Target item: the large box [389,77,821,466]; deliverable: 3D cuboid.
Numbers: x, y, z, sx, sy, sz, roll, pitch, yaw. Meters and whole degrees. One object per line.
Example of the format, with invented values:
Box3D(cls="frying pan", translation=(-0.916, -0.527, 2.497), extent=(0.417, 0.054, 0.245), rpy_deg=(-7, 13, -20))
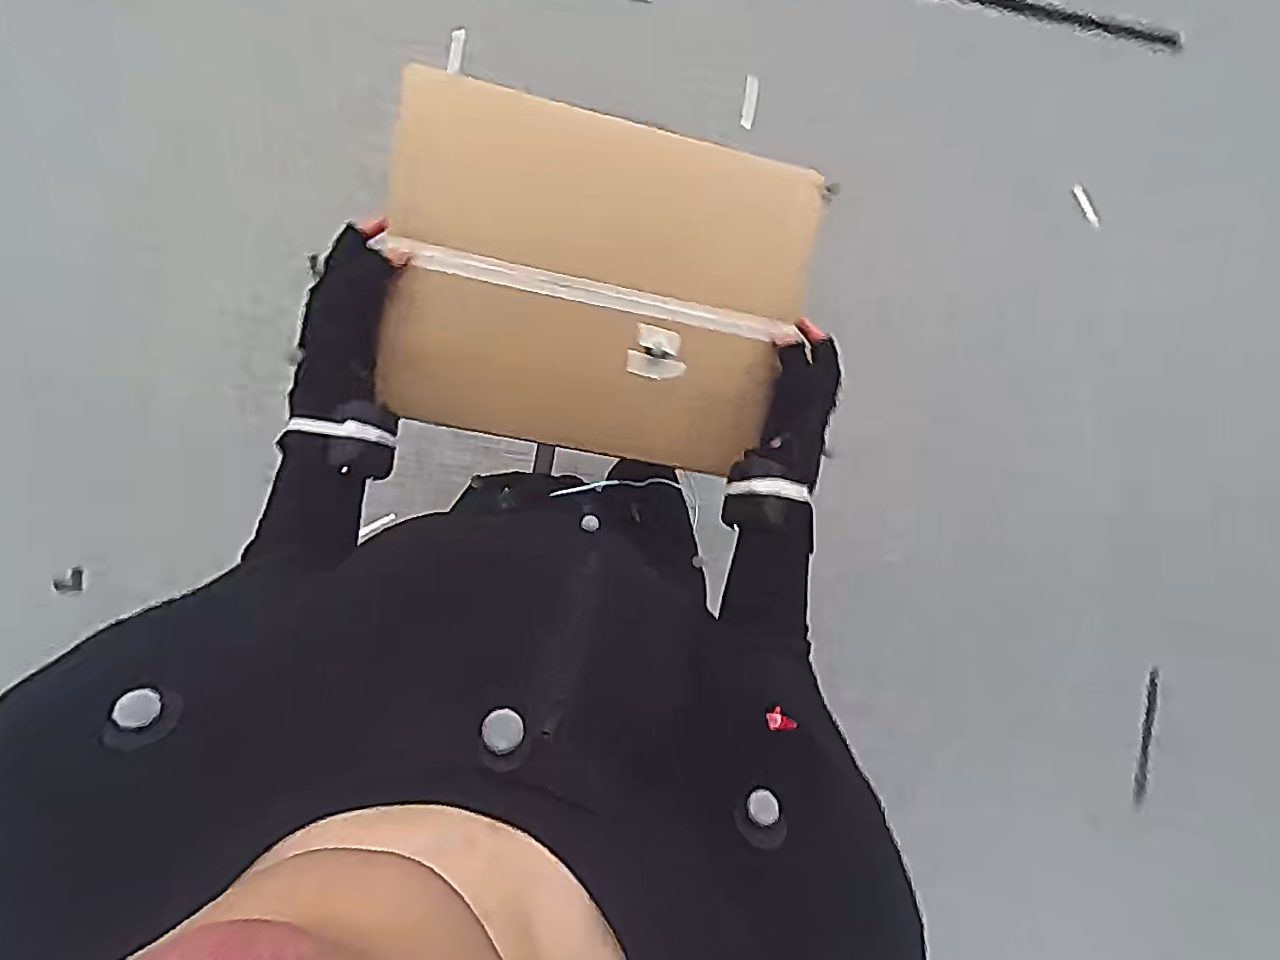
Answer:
Box3D(cls="large box", translation=(-0.053, -0.222, 0.694), extent=(0.408, 0.320, 0.320), rpy_deg=(10, 101, -9))
